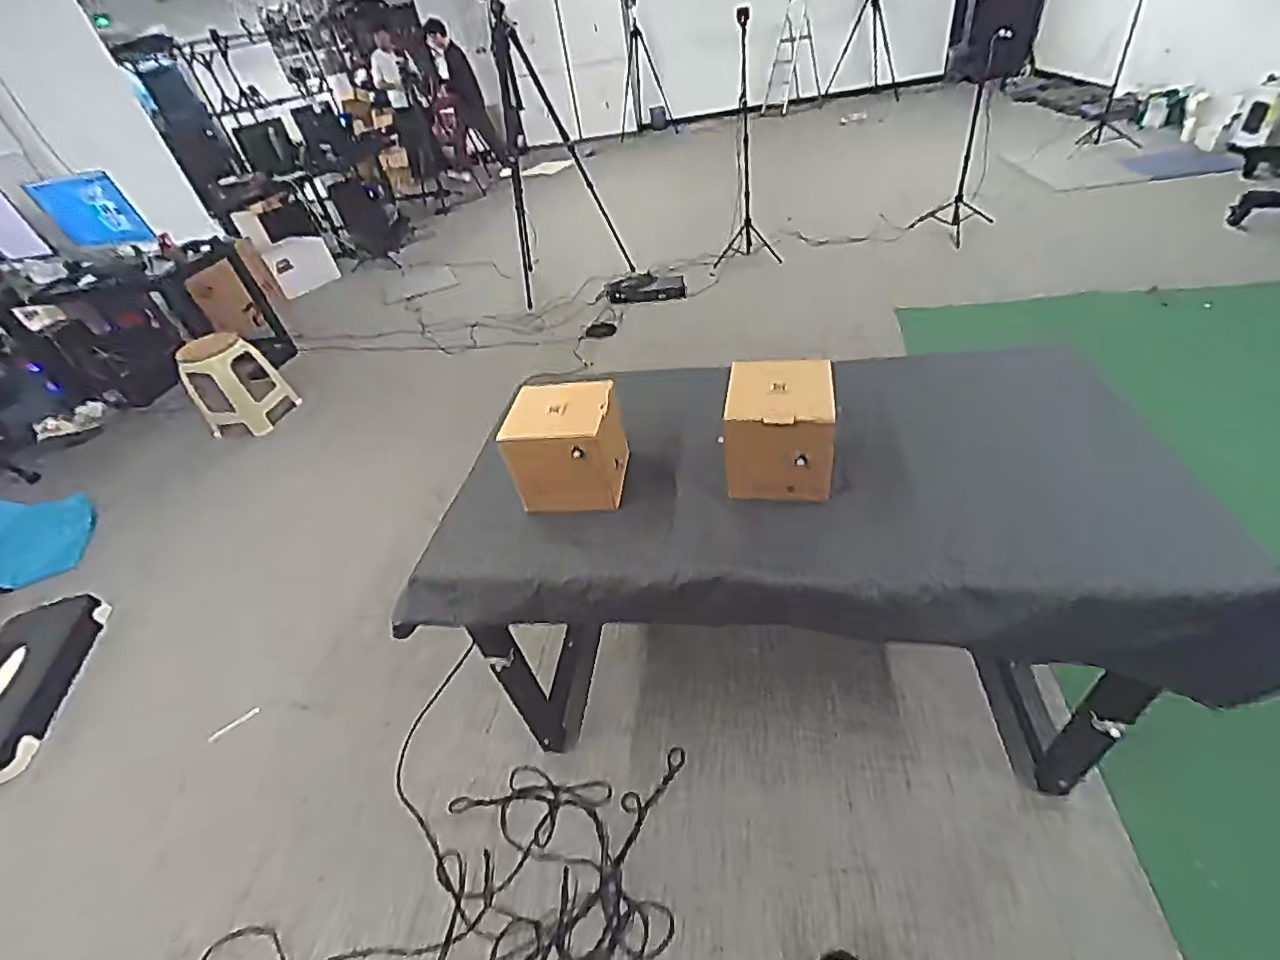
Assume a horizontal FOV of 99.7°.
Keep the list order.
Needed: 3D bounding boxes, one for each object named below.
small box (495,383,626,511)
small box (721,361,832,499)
[{"bbox_3d":[-0.132,-0.056,0.971,0.179,0.176,0.168,-2,41,10],"label":"small box"},{"bbox_3d":[0.231,-0.083,0.916,0.168,0.176,0.179,2,41,13],"label":"small box"}]
